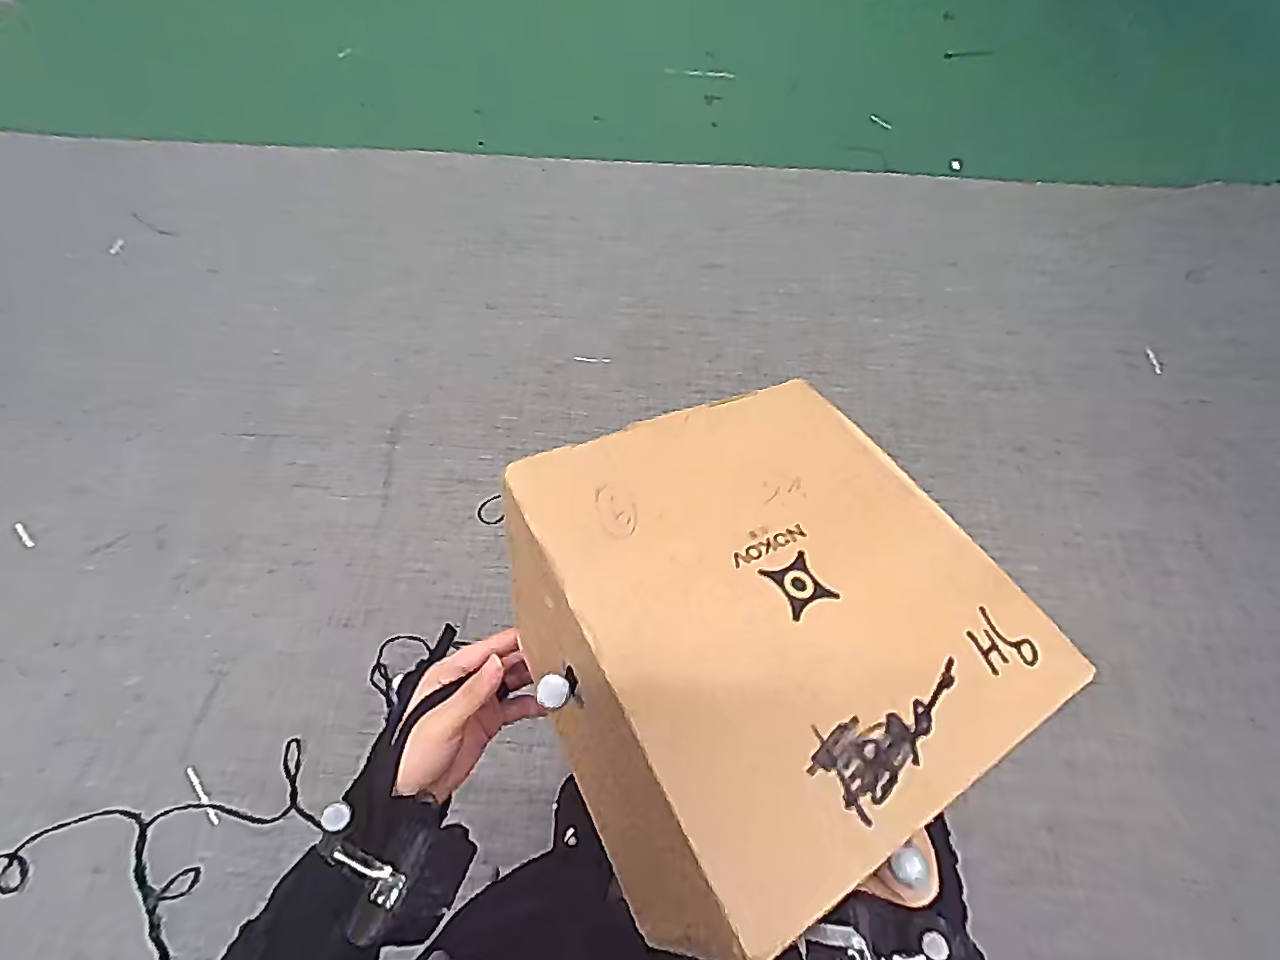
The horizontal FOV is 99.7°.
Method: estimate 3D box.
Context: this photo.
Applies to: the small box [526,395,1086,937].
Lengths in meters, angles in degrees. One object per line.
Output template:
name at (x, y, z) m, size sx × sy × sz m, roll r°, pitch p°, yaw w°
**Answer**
small box at (0.049, 0.089, 0.277) m, size 0.168 × 0.176 × 0.179 m, roll -20°, pitch 57°, yaw -24°
